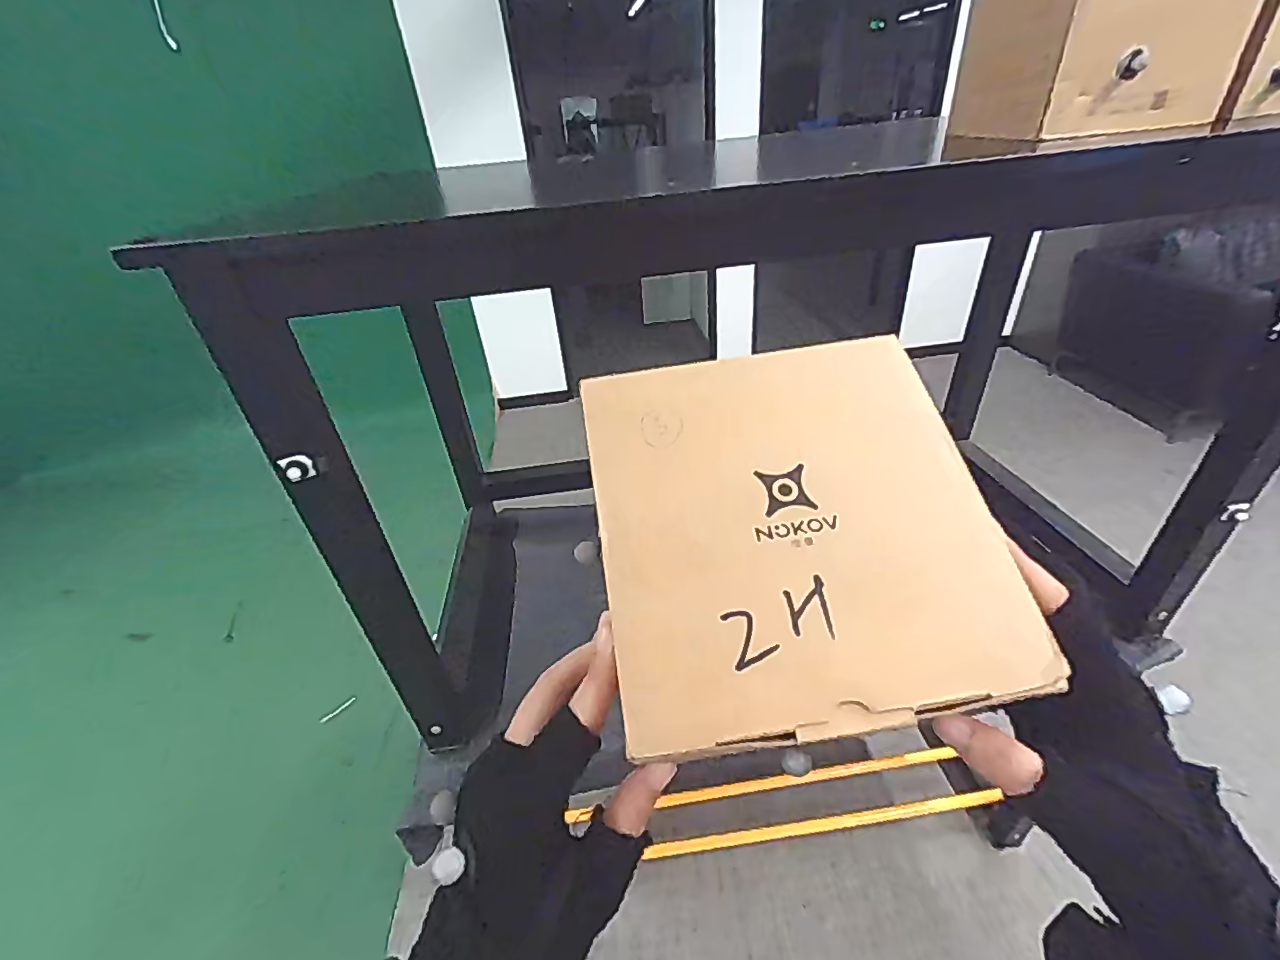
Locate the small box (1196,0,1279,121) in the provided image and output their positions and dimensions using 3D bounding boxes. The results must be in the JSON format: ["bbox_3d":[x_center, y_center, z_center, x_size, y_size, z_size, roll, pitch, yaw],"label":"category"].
[{"bbox_3d":[0.622,-0.465,0.542,0.168,0.176,0.179,-6,33,0],"label":"small box"}]

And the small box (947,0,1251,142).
[{"bbox_3d":[0.441,-0.441,0.538,0.168,0.176,0.179,-5,34,0],"label":"small box"}]
